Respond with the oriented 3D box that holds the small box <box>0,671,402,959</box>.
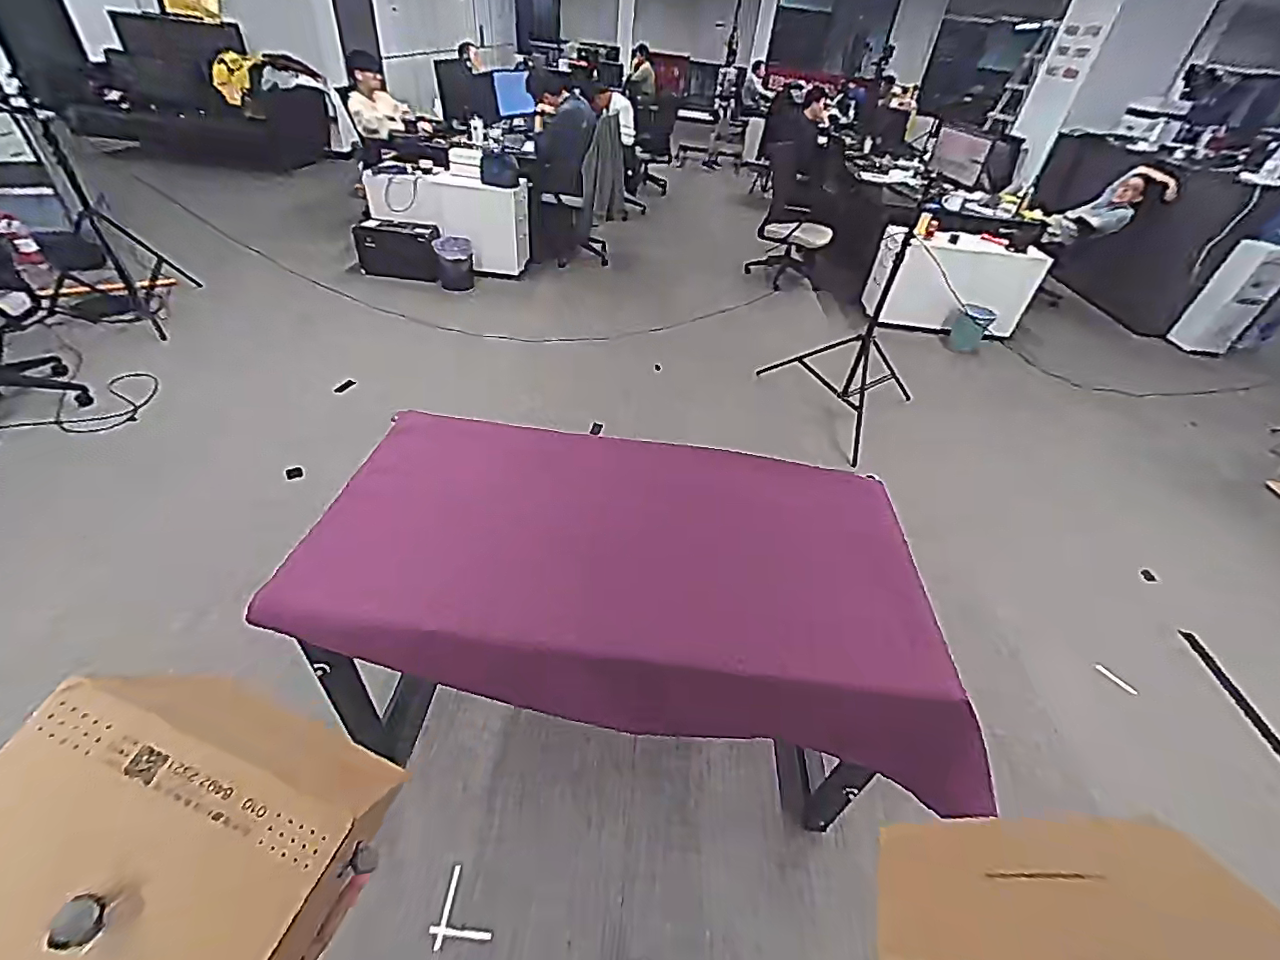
[{"bbox_3d":[-0.267,0.223,0.313,0.168,0.179,0.176,28,64,-3],"label":"small box"}]
